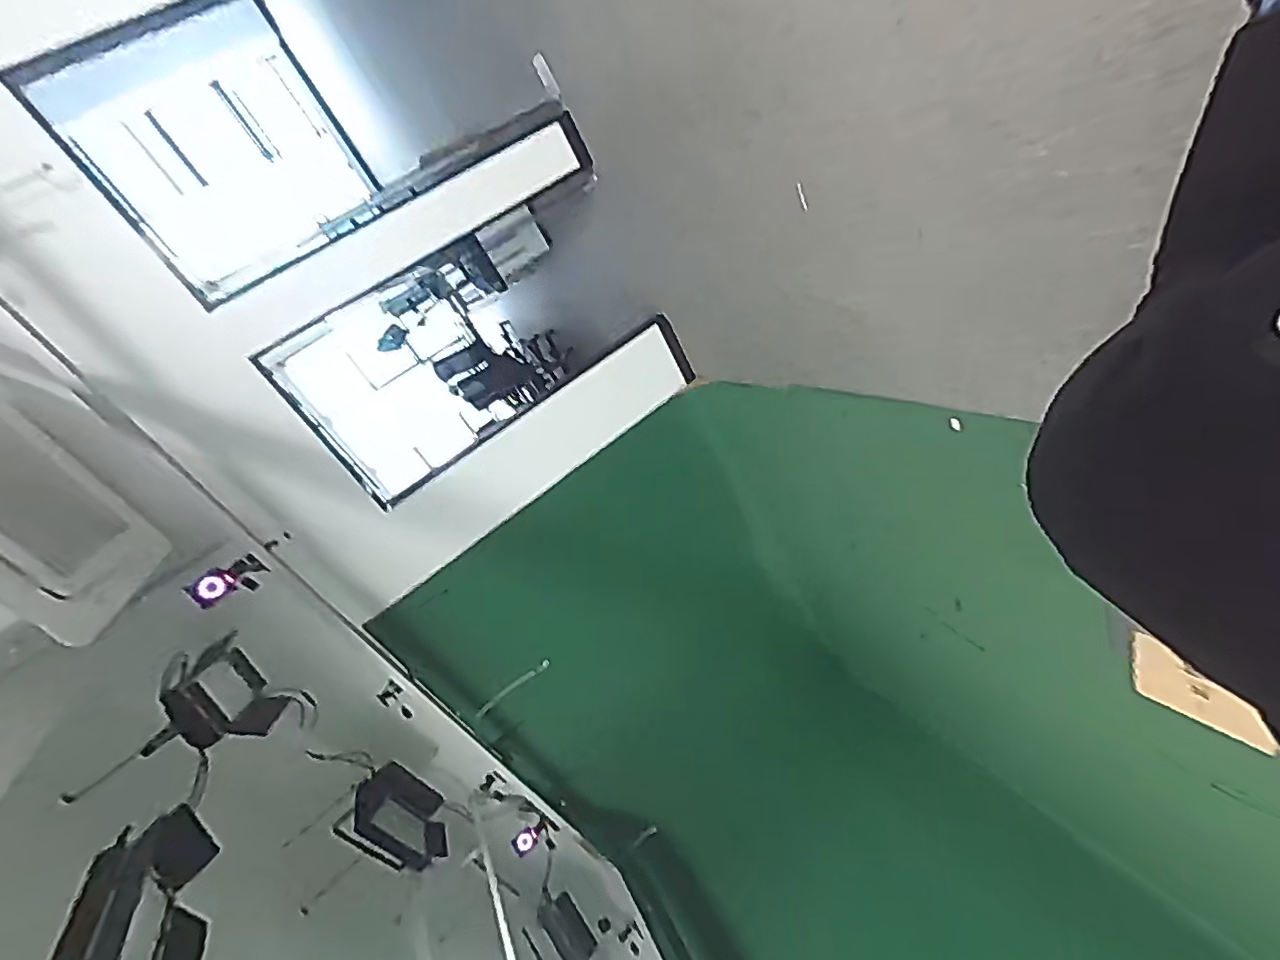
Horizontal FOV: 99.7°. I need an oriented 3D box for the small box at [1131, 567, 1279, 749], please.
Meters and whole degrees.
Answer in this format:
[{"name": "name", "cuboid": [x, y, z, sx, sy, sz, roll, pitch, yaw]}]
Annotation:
[{"name": "small box", "cuboid": [0.918, 0.268, 0.849, 0.168, 0.176, 0.179, 29, 154, 58]}]
